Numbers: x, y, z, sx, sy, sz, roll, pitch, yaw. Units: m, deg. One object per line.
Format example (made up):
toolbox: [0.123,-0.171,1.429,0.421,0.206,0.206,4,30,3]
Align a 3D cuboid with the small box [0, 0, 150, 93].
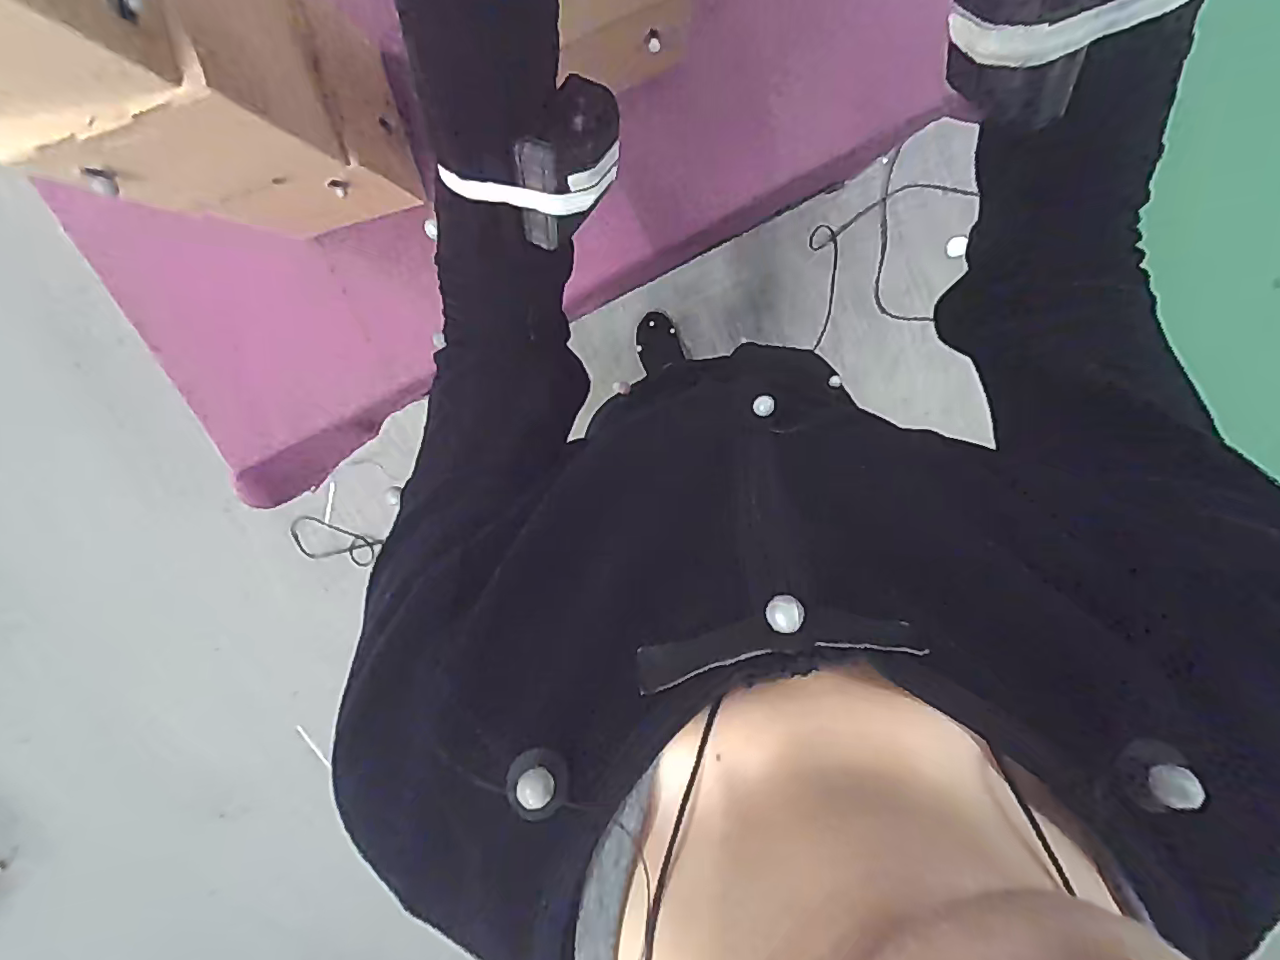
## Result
small box: [-0.396,-0.318,0.259,0.179,0.176,0.168,-7,104,4]

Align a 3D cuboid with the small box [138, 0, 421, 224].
small box: [-0.371,-0.394,0.579,0.179,0.176,0.168,-15,104,5]
